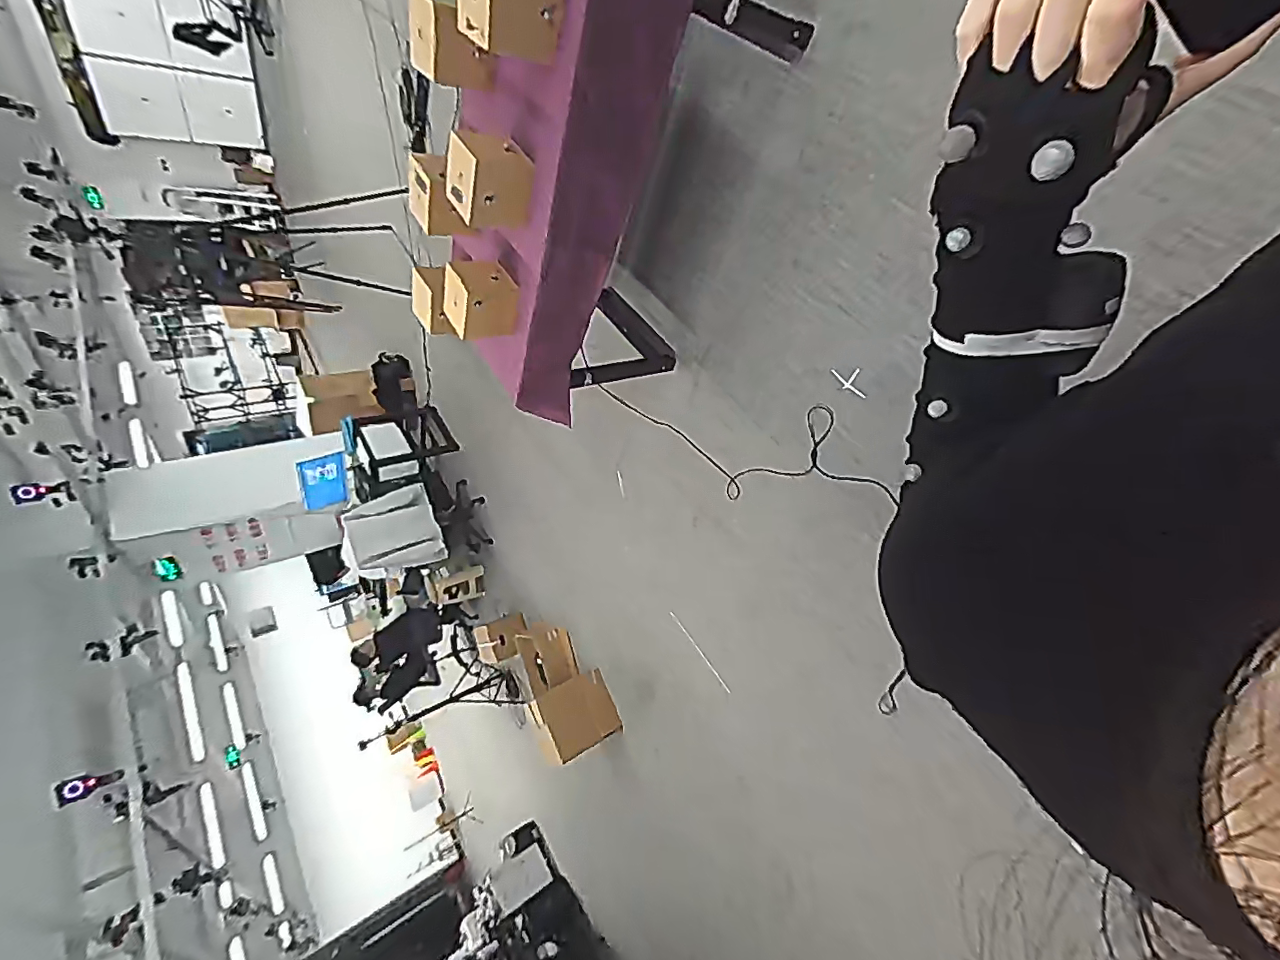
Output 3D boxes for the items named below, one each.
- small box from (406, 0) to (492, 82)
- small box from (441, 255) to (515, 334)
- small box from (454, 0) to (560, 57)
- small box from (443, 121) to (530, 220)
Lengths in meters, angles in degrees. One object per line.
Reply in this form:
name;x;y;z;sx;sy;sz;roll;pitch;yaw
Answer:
small box;-0.501;-1.176;1.420;0.179;0.176;0.168;50;140;28
small box;-0.508;-0.580;1.692;0.168;0.176;0.179;53;140;25
small box;-0.285;-1.064;1.175;0.168;0.176;0.179;52;140;27
small box;-0.412;-0.823;1.454;0.168;0.176;0.179;54;140;24
